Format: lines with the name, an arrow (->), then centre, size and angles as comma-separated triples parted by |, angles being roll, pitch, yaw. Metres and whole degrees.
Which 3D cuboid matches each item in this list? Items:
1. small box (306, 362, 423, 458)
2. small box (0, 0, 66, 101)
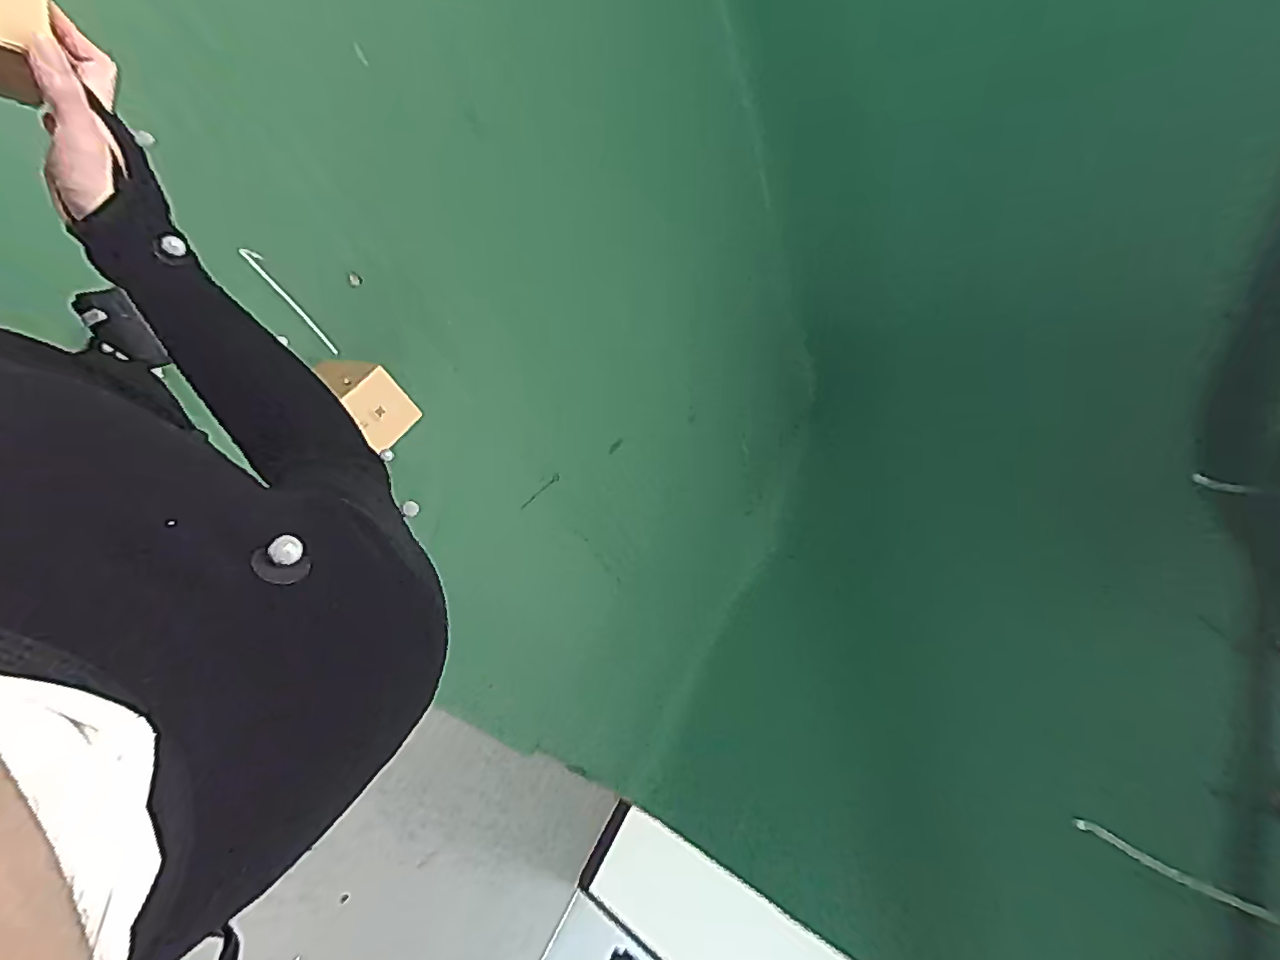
small box -> -0.702, -0.184, 1.375 | 0.179, 0.176, 0.168 | -54, 137, -25
small box -> -0.477, -0.369, 0.325 | 0.168, 0.176, 0.179 | -6, 111, -49
